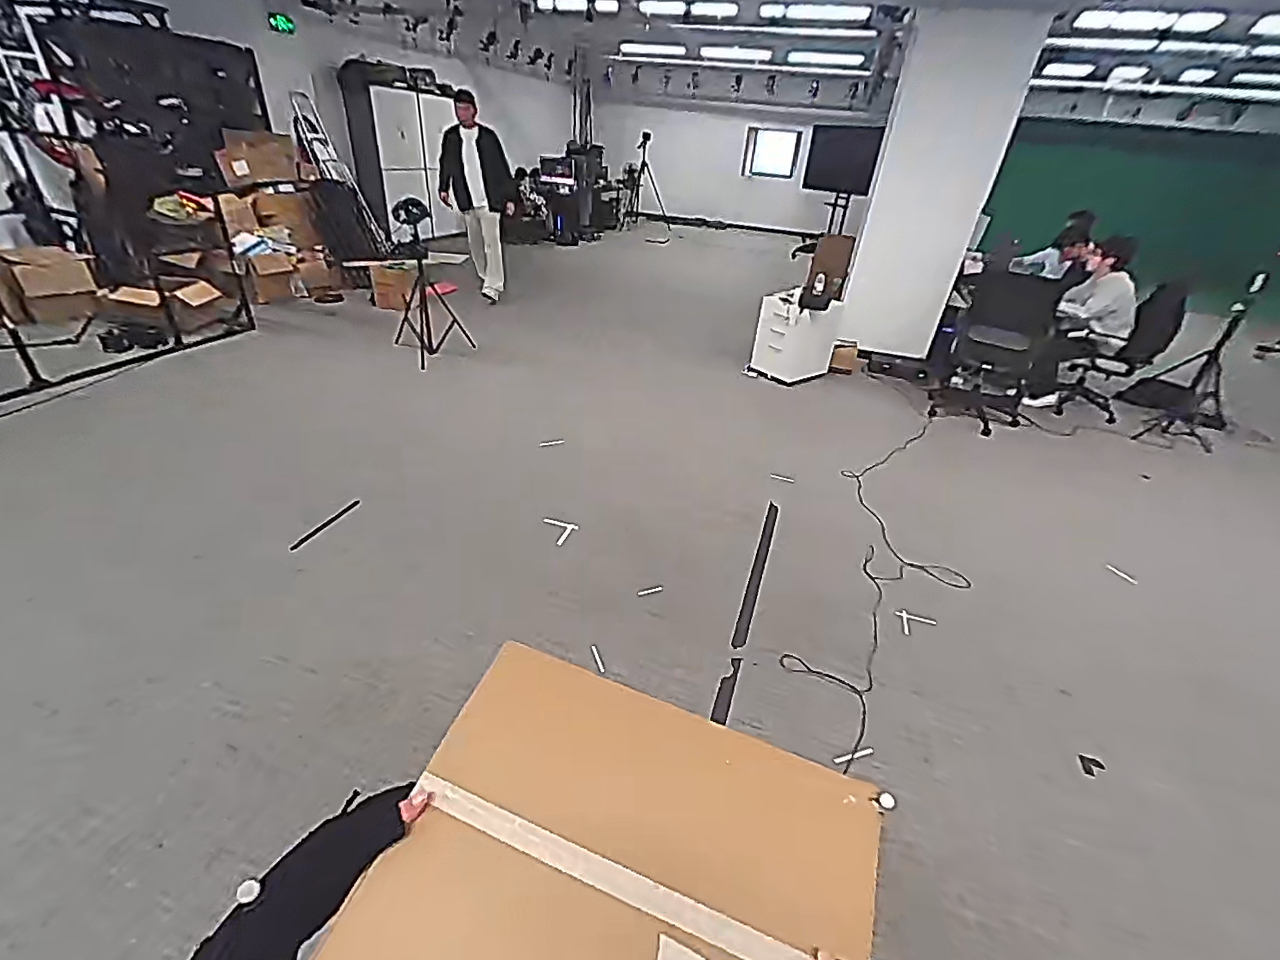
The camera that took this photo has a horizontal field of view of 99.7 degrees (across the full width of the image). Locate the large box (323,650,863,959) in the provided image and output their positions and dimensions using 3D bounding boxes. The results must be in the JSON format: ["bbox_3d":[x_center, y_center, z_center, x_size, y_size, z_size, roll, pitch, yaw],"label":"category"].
[{"bbox_3d":[-0.028,0.447,0.574,0.408,0.320,0.320,17,48,12],"label":"large box"}]
